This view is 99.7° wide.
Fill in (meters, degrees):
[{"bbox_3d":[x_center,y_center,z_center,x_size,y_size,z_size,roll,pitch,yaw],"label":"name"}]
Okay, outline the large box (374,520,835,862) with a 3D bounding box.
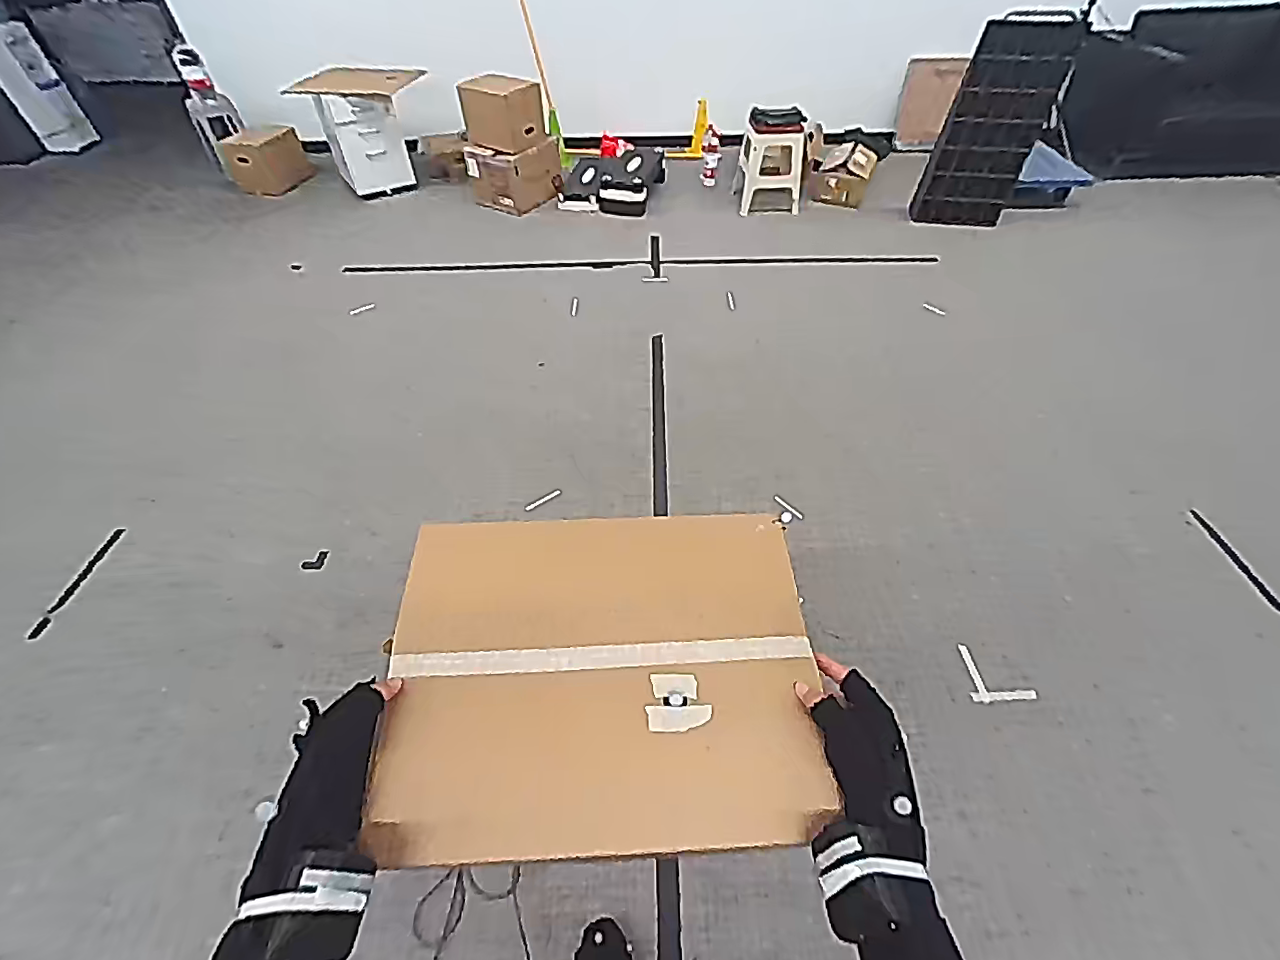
[{"bbox_3d":[-0.039,0.266,0.664,0.408,0.320,0.320,-2,55,-3],"label":"large box"}]
